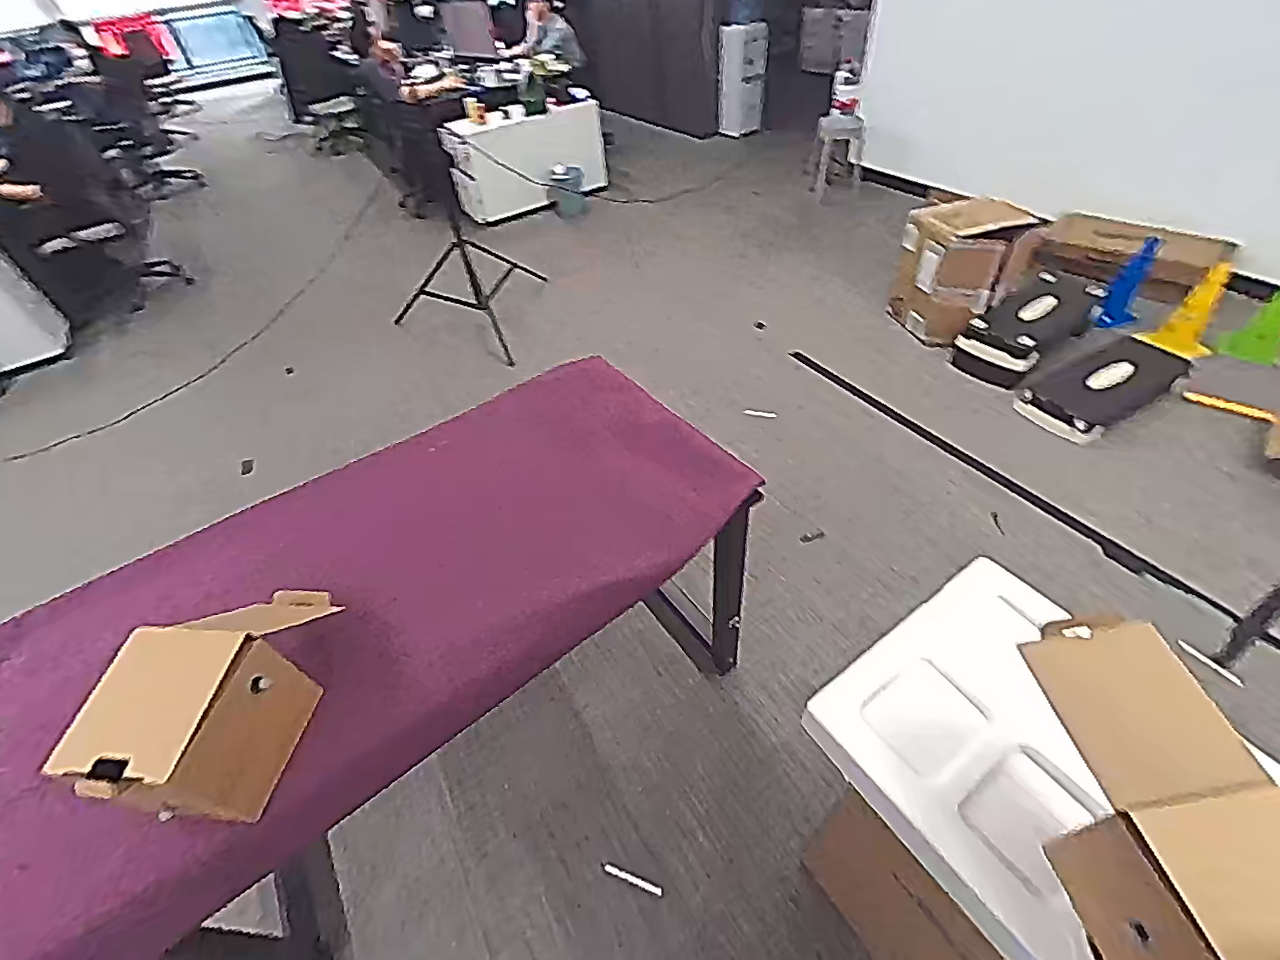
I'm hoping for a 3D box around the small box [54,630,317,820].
[{"bbox_3d":[-0.571,0.322,0.716,0.168,0.176,0.179,0,45,9],"label":"small box"}]
